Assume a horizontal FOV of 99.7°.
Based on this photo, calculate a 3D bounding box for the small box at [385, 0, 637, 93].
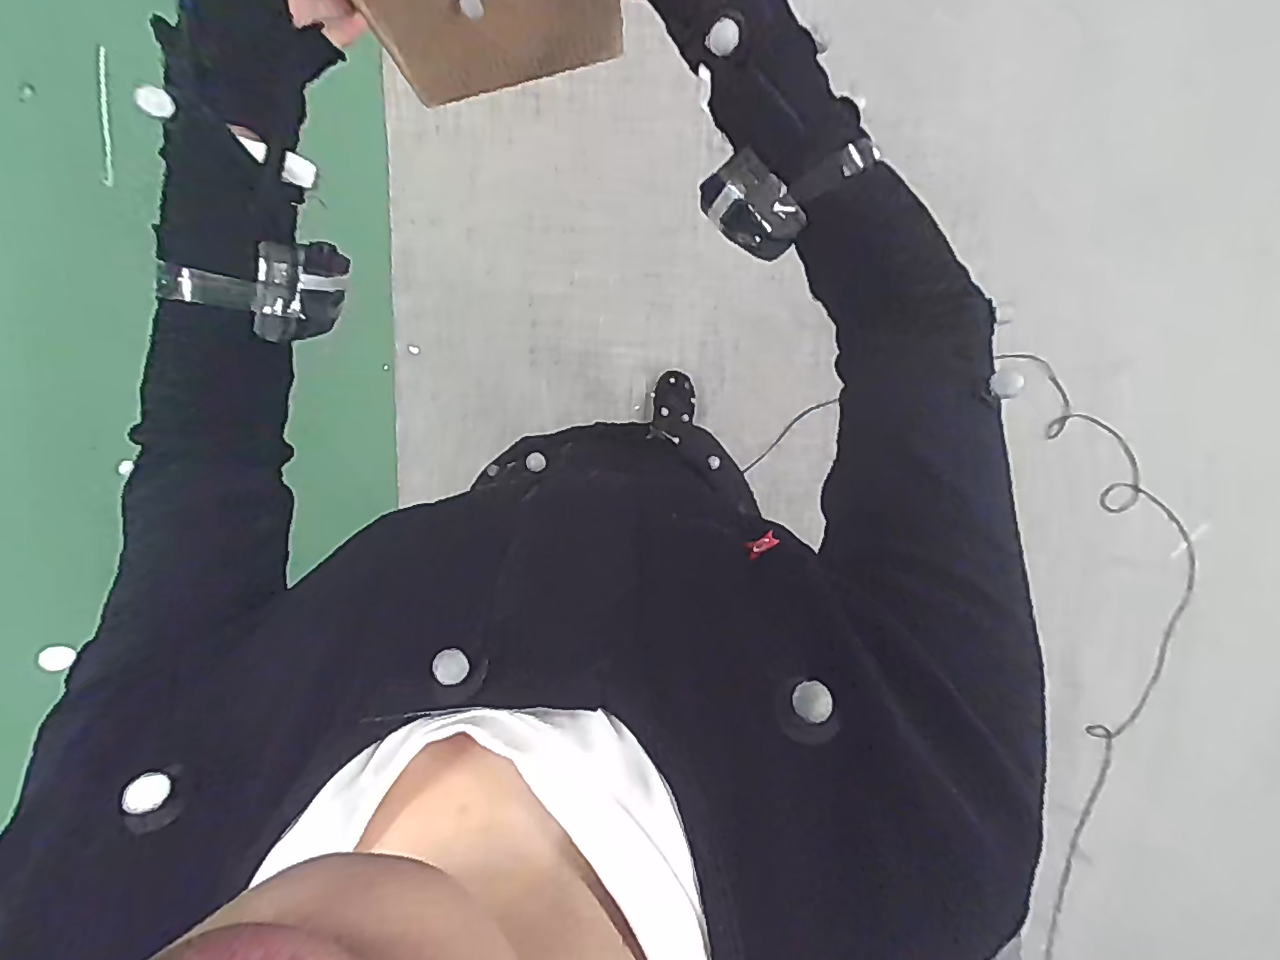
[{"bbox_3d":[-0.105,-0.408,0.367,0.179,0.176,0.168,-13,94,3],"label":"small box"}]
